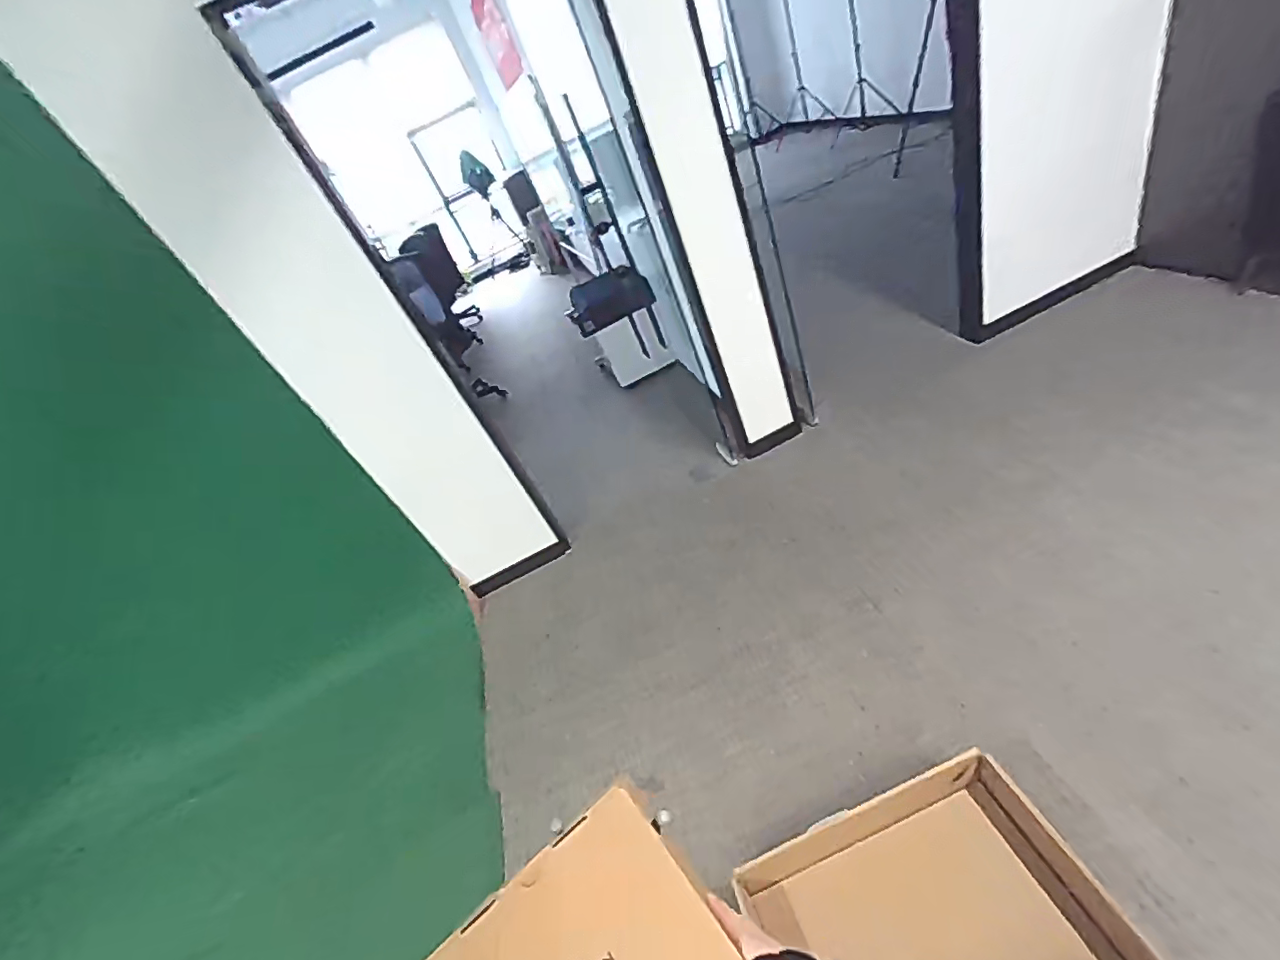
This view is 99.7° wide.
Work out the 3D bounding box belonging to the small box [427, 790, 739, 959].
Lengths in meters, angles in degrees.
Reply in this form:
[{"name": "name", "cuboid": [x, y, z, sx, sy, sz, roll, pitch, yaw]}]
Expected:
[{"name": "small box", "cuboid": [-0.030, 0.365, 0.407, 0.168, 0.176, 0.179, -37, 69, -17]}]
